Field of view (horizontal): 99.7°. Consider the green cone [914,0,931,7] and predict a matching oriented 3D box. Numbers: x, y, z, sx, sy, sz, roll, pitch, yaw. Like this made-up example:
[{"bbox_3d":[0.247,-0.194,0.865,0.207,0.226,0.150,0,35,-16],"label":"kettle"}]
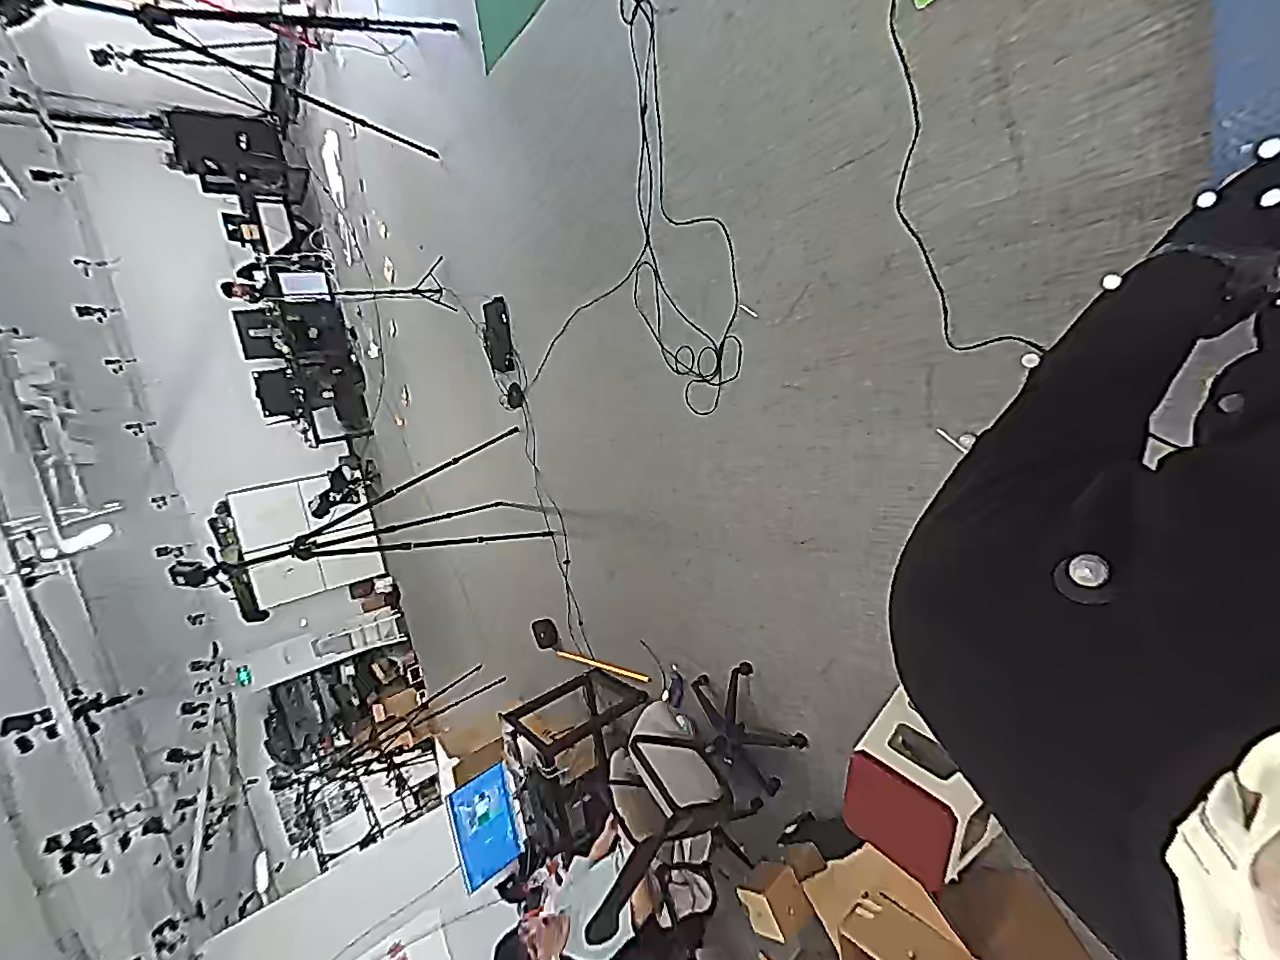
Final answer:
[{"bbox_3d":[0.619,-1.284,1.224,0.202,0.368,0.200,-3,100,56],"label":"green cone"}]
